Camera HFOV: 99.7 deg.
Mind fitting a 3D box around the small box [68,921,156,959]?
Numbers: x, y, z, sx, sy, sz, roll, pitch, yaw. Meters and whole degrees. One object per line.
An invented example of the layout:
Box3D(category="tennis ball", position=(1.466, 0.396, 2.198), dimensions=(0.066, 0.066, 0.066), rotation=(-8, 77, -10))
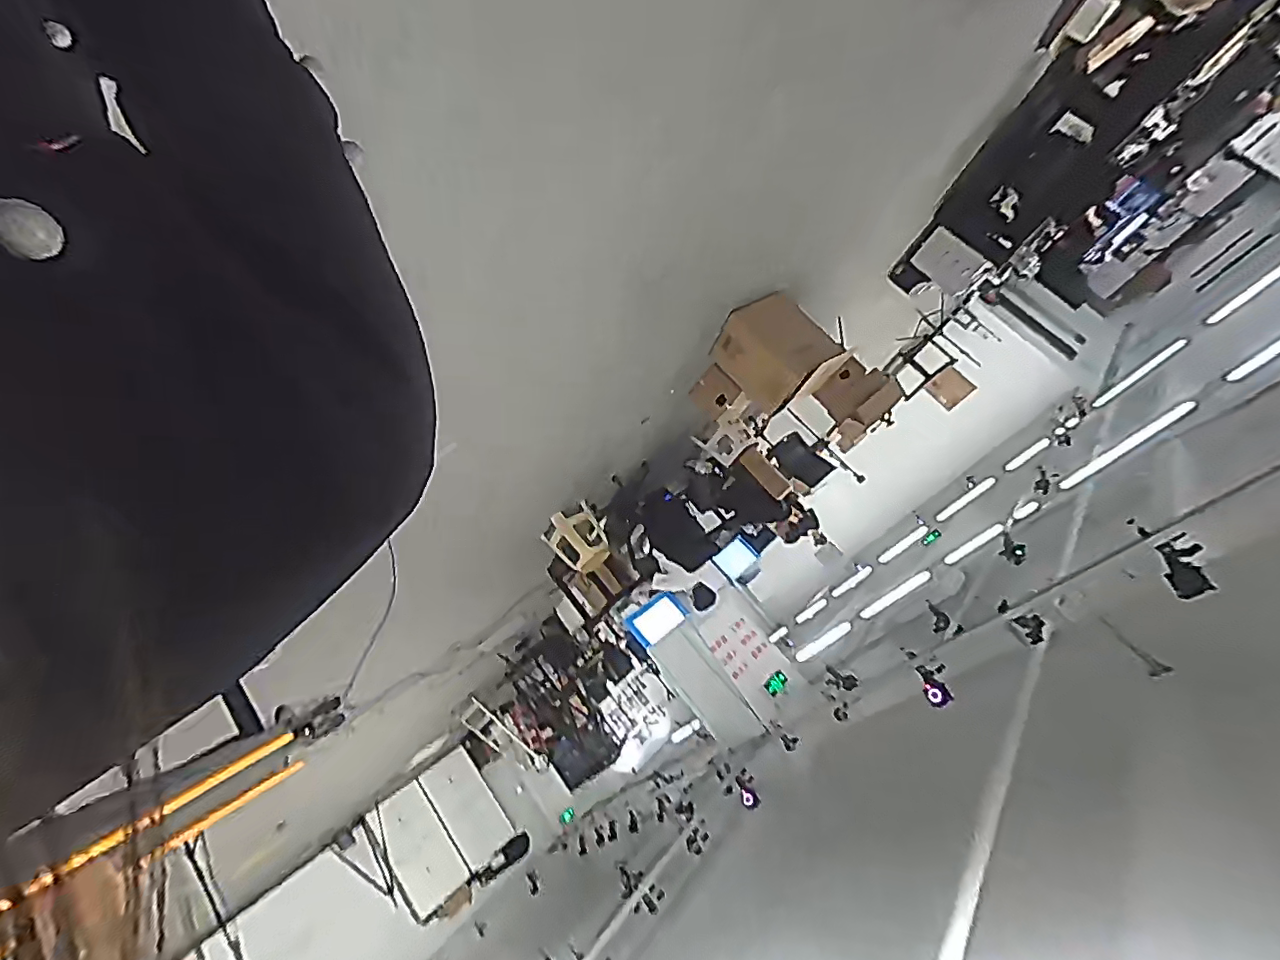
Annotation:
Box3D(category="small box", position=(-1.449, 1.351, 1.473), dimensions=(0.168, 0.176, 0.179), rotation=(-27, 157, -42))

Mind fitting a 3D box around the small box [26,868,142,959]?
Box3D(category="small box", position=(-1.553, 1.230, 1.516), dimensions=(0.168, 0.176, 0.179), rotation=(-29, 160, -41))
